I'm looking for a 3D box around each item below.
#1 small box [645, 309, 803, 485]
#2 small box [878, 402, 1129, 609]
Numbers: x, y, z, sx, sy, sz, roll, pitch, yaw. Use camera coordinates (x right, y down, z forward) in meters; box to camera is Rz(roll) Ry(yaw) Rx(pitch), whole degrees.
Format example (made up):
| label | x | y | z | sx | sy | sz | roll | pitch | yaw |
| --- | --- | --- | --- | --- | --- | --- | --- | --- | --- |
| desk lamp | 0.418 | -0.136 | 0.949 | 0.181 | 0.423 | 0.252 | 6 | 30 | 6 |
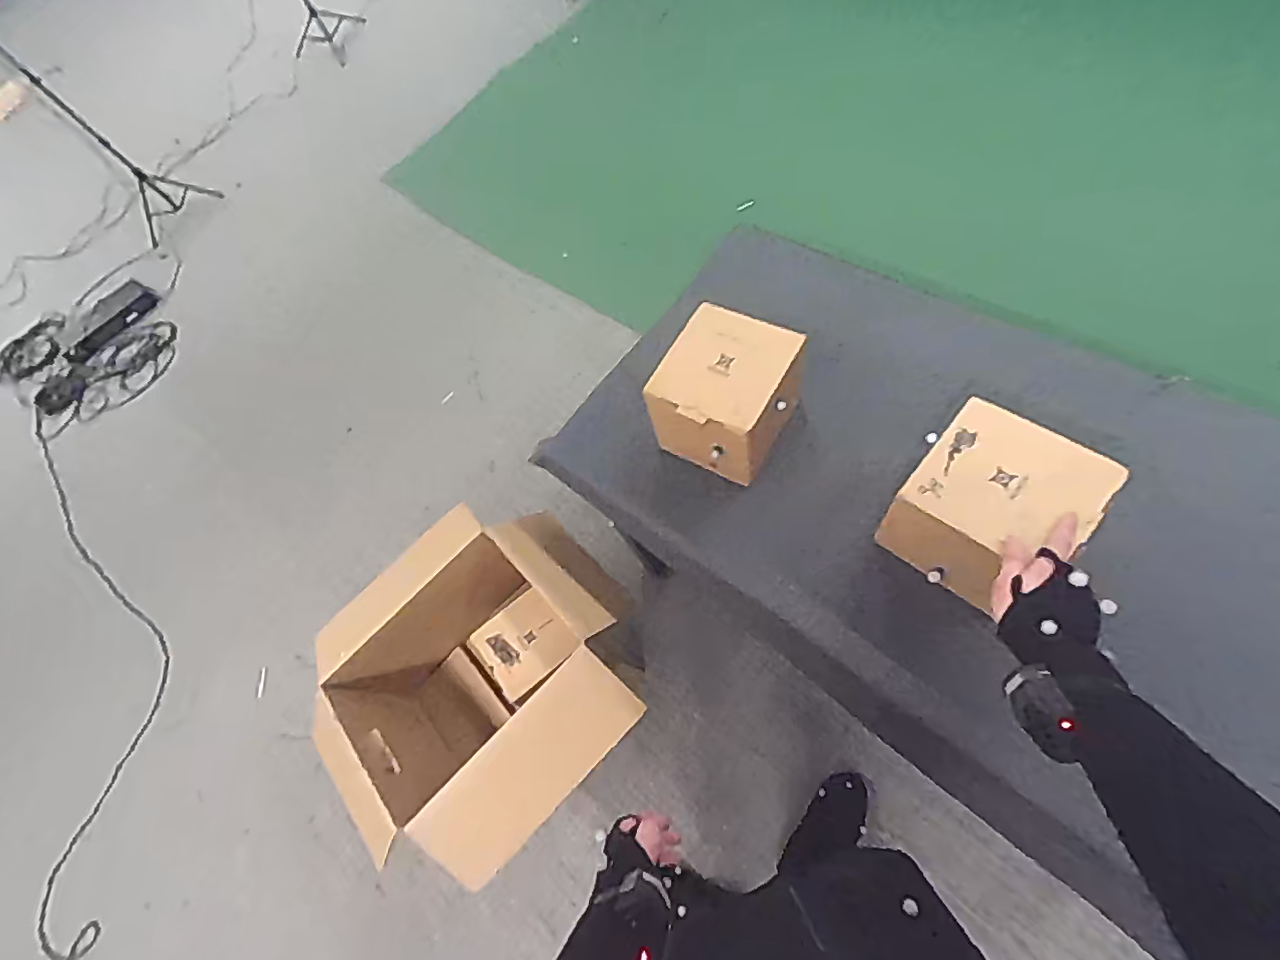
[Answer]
| label | x | y | z | sx | sy | sz | roll | pitch | yaw |
| --- | --- | --- | --- | --- | --- | --- | --- | --- | --- |
| small box | 0.132 | -0.120 | 0.823 | 0.168 | 0.176 | 0.179 | 26 | 71 | 21 |
| small box | 0.430 | 0.041 | 0.673 | 0.179 | 0.176 | 0.168 | 36 | 78 | 25 |
